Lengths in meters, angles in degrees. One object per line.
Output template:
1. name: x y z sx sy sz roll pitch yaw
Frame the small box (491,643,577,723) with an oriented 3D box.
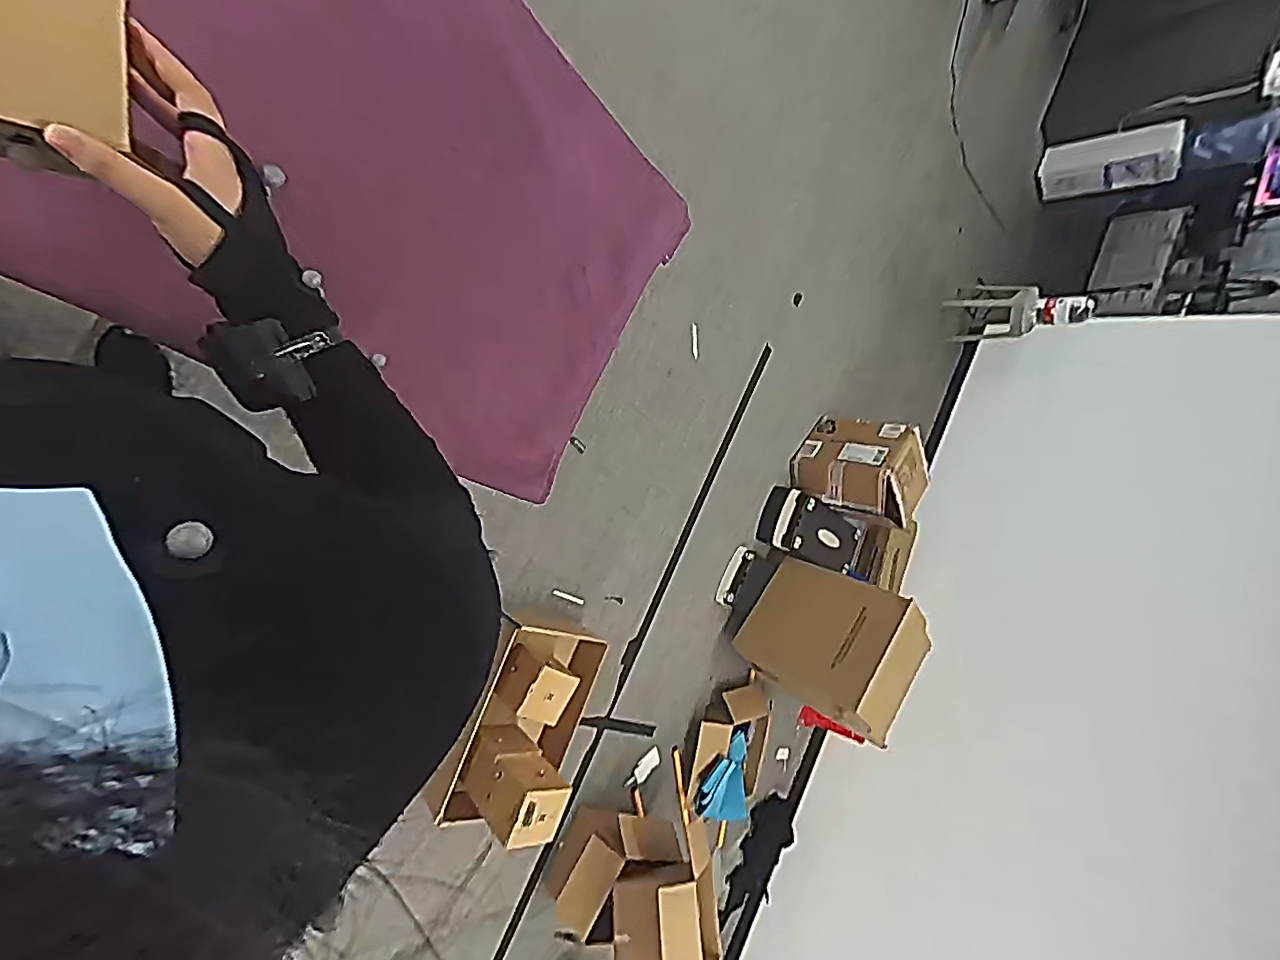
1. small box: -0.346 0.655 1.757 0.179 0.176 0.168 40 76 -41

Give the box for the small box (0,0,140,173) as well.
1. small box: -0.407 -0.295 0.307 0.179 0.176 0.168 -1 105 -43

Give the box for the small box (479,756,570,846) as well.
1. small box: -0.348 0.943 1.606 0.179 0.176 0.168 27 83 -44
